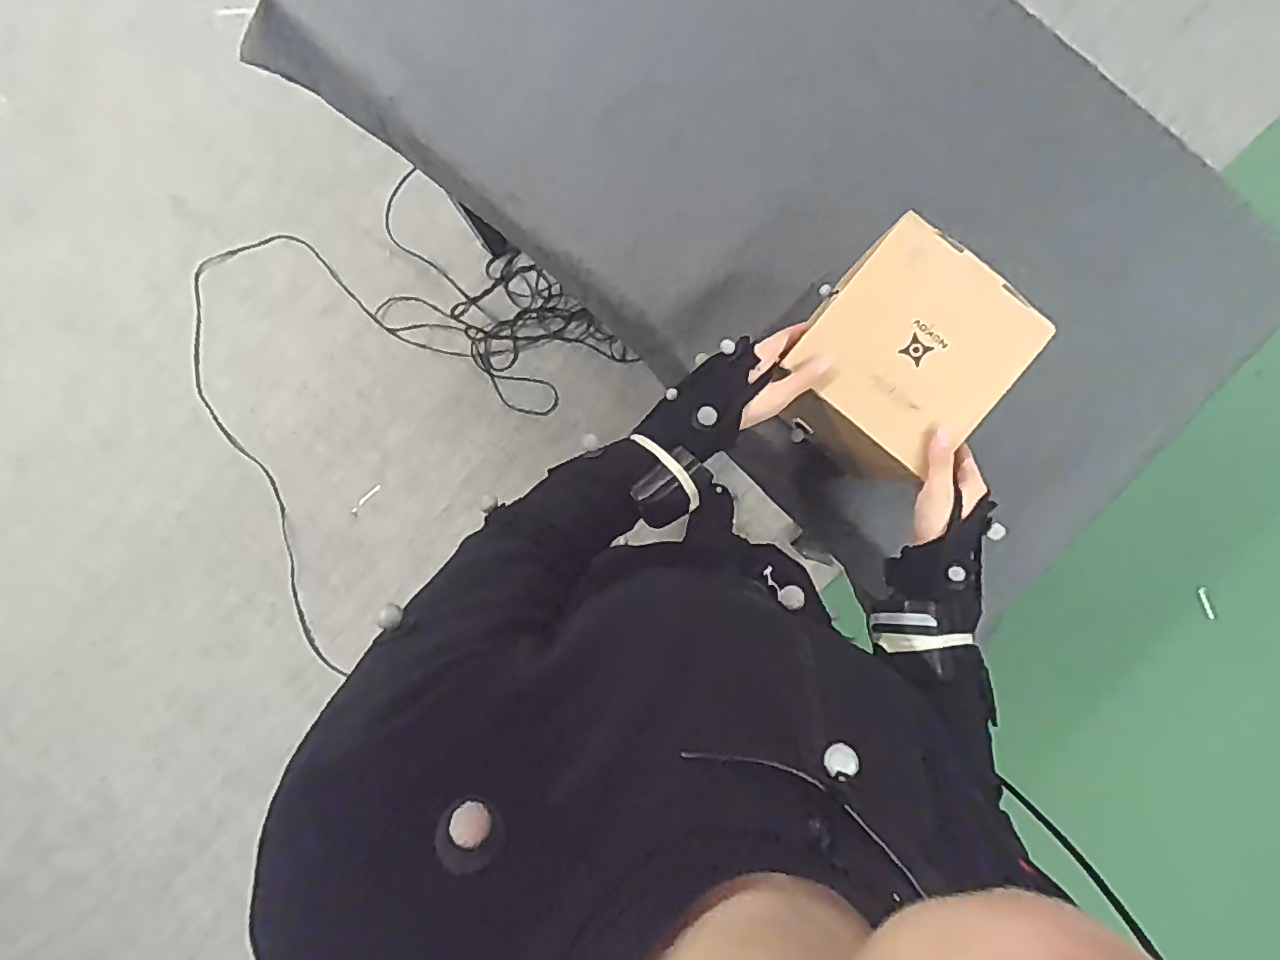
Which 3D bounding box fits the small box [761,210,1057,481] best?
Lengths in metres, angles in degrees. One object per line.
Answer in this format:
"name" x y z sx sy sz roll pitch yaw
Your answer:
"small box" 0.243 -0.118 0.543 0.168 0.176 0.179 39 93 1
